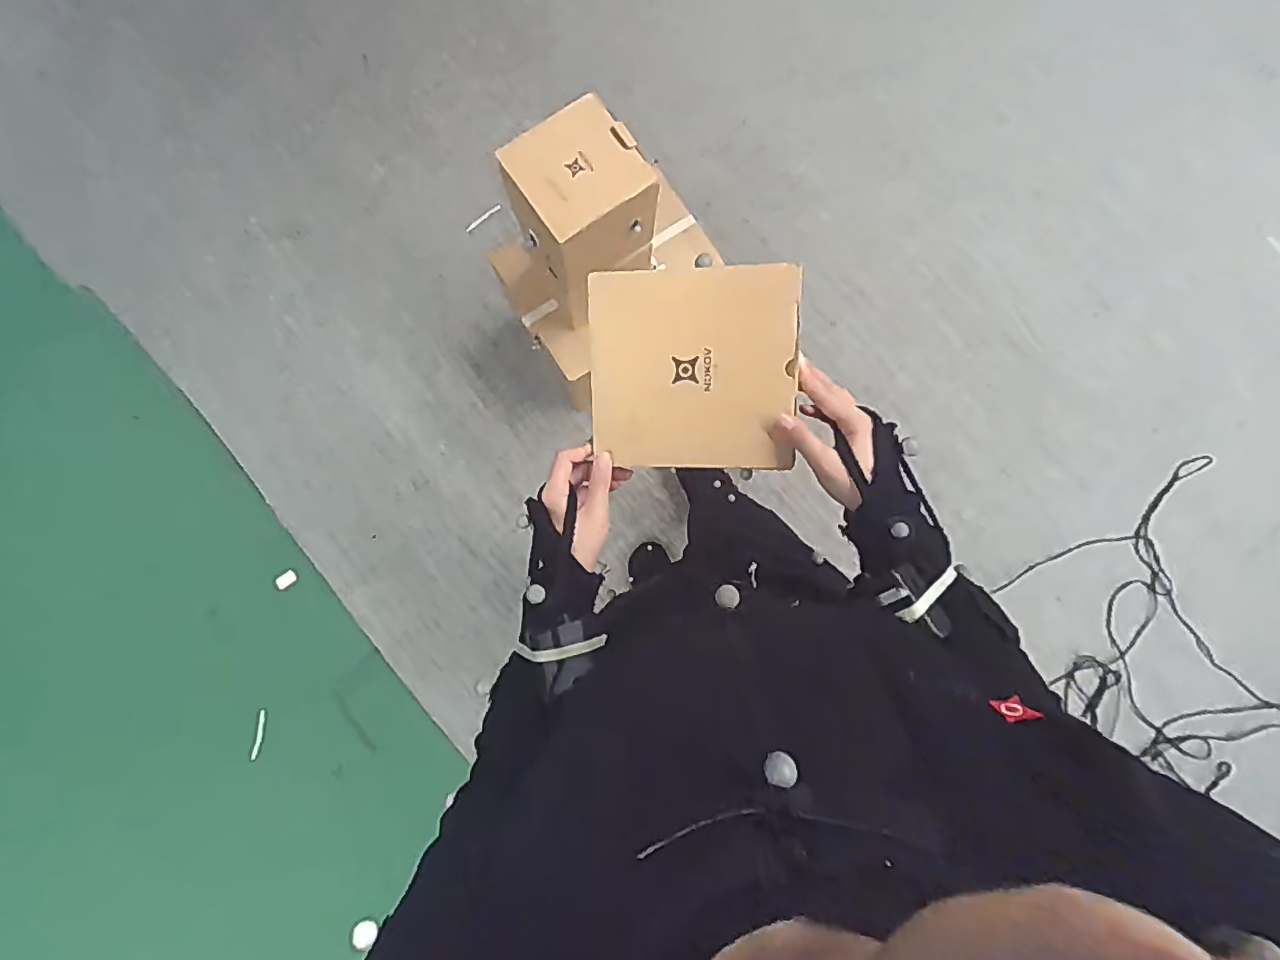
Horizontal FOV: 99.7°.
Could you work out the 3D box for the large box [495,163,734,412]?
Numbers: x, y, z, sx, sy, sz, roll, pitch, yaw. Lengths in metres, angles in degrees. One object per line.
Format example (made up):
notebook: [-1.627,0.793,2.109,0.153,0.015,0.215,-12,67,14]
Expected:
large box: [-0.057,-0.415,1.250,0.408,0.320,0.320,-33,88,-5]

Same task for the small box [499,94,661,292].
small box: [-0.088,-0.433,0.841,0.179,0.176,0.168,-36,86,-4]
